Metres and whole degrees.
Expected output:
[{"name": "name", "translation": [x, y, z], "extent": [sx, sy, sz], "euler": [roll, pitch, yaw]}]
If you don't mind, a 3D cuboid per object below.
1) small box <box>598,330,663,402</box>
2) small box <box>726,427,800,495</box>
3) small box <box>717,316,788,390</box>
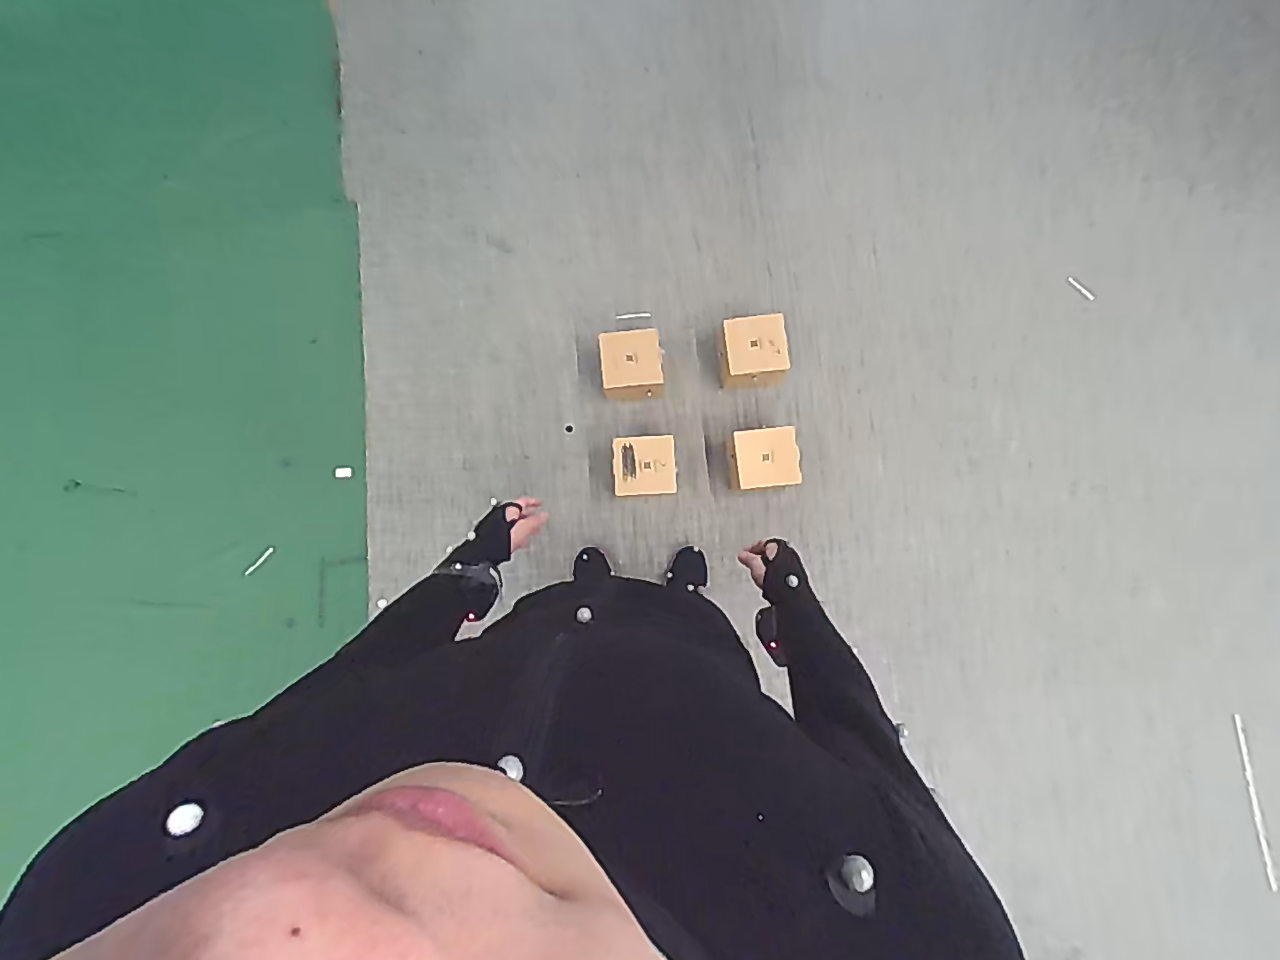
[{"name": "small box", "translation": [-0.027, -0.336, 1.617], "extent": [0.179, 0.176, 0.168], "euler": [-5, 83, 1]}, {"name": "small box", "translation": [0.350, -0.050, 1.582], "extent": [0.179, 0.176, 0.168], "euler": [-6, 84, -1]}, {"name": "small box", "translation": [0.329, -0.373, 1.613], "extent": [0.179, 0.176, 0.168], "euler": [-5, 84, 0]}]
